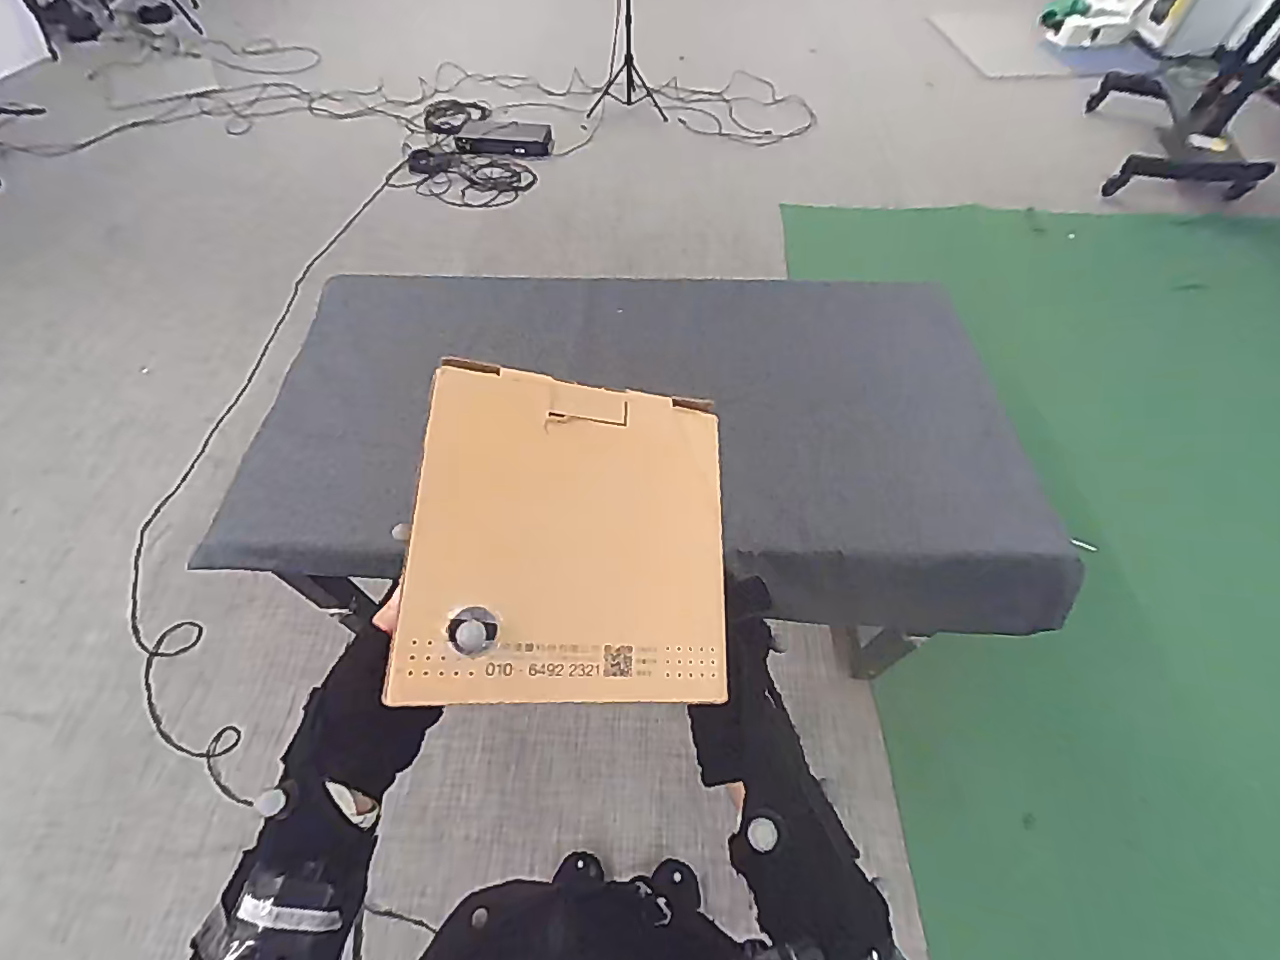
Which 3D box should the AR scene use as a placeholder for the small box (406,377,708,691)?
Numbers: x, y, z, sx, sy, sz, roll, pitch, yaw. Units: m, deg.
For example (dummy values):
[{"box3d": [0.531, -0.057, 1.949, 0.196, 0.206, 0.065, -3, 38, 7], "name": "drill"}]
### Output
[{"box3d": [-0.060, 0.054, 0.376, 0.168, 0.179, 0.176, 8, 69, -19], "name": "small box"}]
